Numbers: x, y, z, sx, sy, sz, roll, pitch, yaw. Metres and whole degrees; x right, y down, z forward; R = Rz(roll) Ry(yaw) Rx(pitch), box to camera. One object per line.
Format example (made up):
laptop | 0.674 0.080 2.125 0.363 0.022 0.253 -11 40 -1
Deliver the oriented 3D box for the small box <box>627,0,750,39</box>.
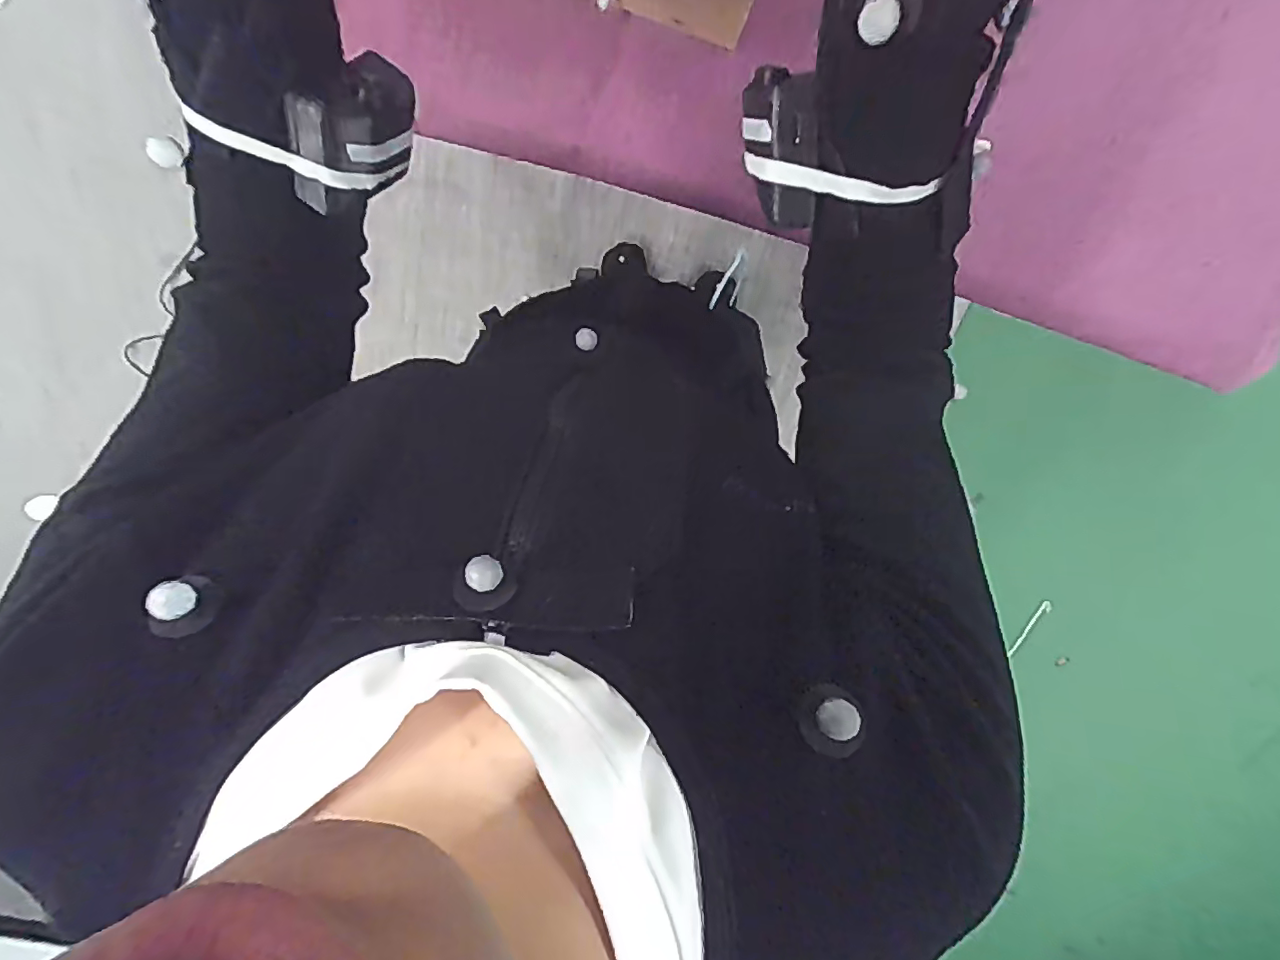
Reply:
small box | 0.041 -0.505 0.437 0.168 0.176 0.179 16 113 -5
